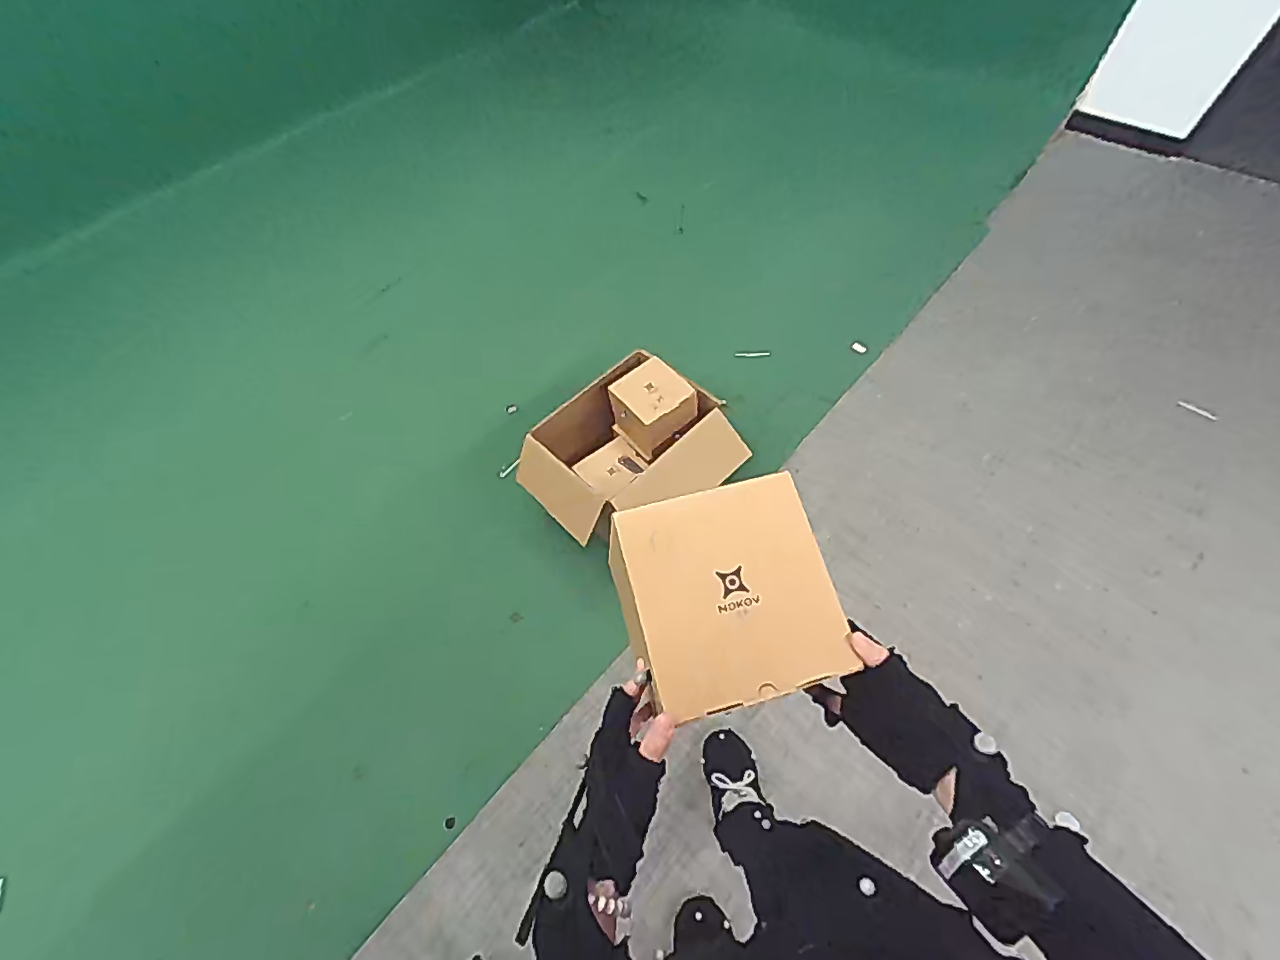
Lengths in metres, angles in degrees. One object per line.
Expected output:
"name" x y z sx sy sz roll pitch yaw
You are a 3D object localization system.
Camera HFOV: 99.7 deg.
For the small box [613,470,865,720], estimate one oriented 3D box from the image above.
"small box" 0.073 0.113 0.519 0.168 0.176 0.179 -13 72 -10
